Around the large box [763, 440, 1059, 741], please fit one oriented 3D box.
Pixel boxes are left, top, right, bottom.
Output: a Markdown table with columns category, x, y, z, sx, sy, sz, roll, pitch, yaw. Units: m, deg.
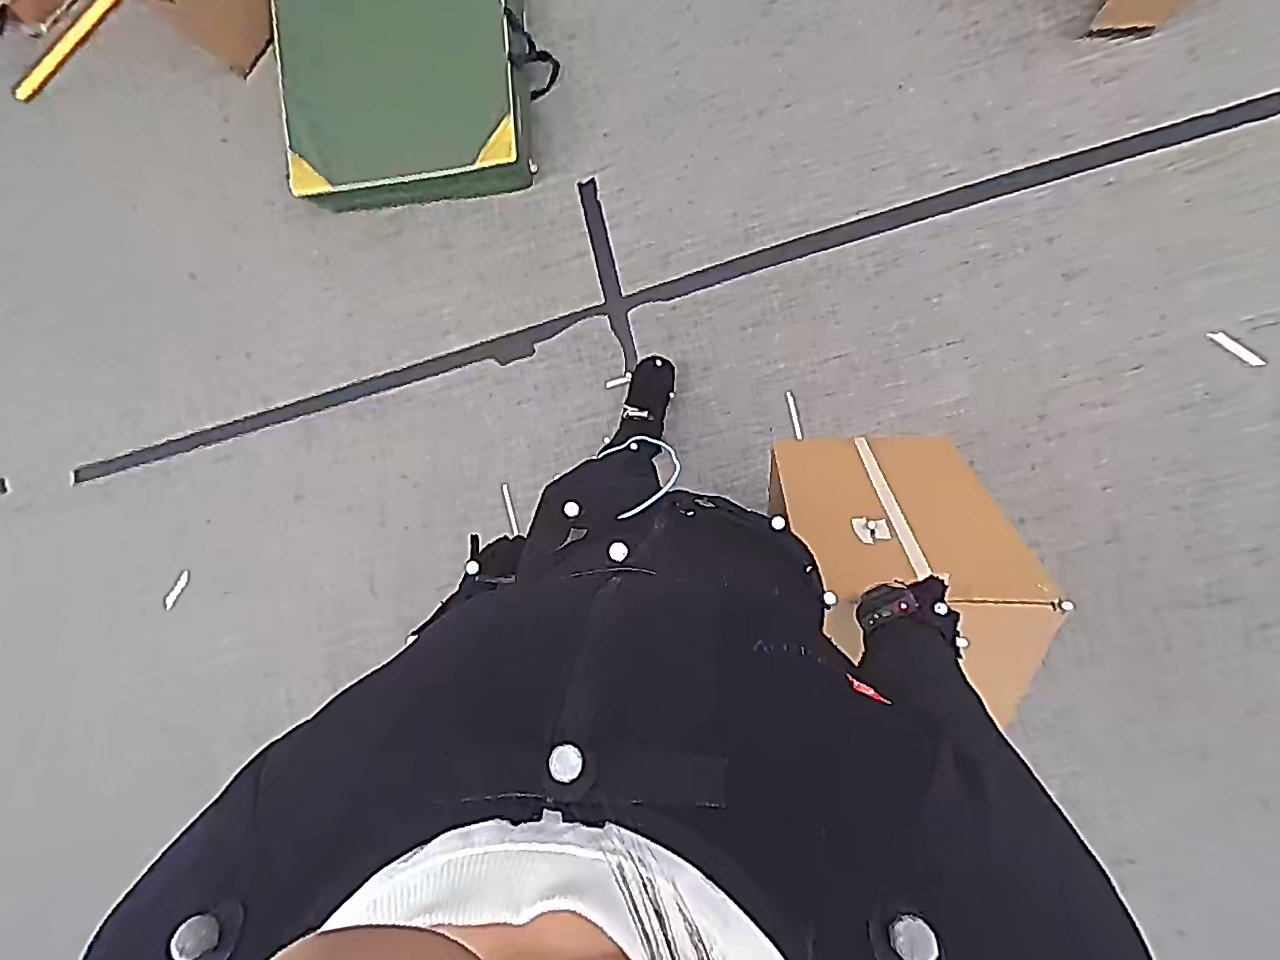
| category | x | y | z | sx | sy | sz | roll | pitch | yaw |
| --- | --- | --- | --- | --- | --- | --- | --- | --- | --- |
| large box | 0.390 | 0.166 | 0.920 | 0.320 | 0.408 | 0.320 | -1 | 126 | 8 |
